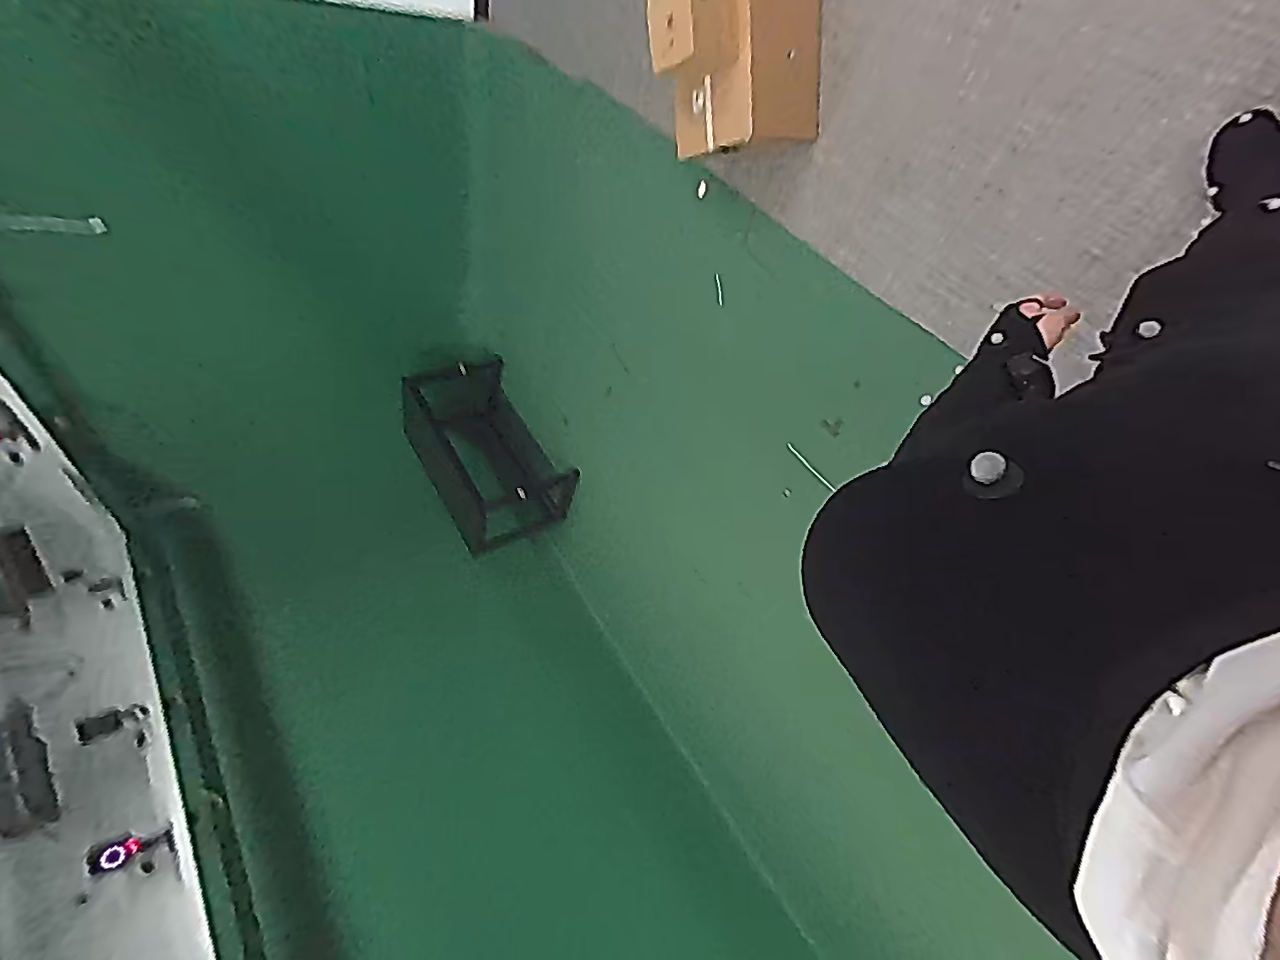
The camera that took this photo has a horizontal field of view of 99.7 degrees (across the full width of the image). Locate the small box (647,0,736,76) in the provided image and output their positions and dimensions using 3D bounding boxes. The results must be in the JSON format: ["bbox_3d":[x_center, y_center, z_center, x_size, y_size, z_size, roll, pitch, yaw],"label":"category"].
[{"bbox_3d":[0.139,-1.205,1.433,0.168,0.176,0.179,20,124,48],"label":"small box"}]

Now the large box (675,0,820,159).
[{"bbox_3d":[0.319,-1.223,1.619,0.320,0.320,0.408,22,126,49],"label":"large box"}]
